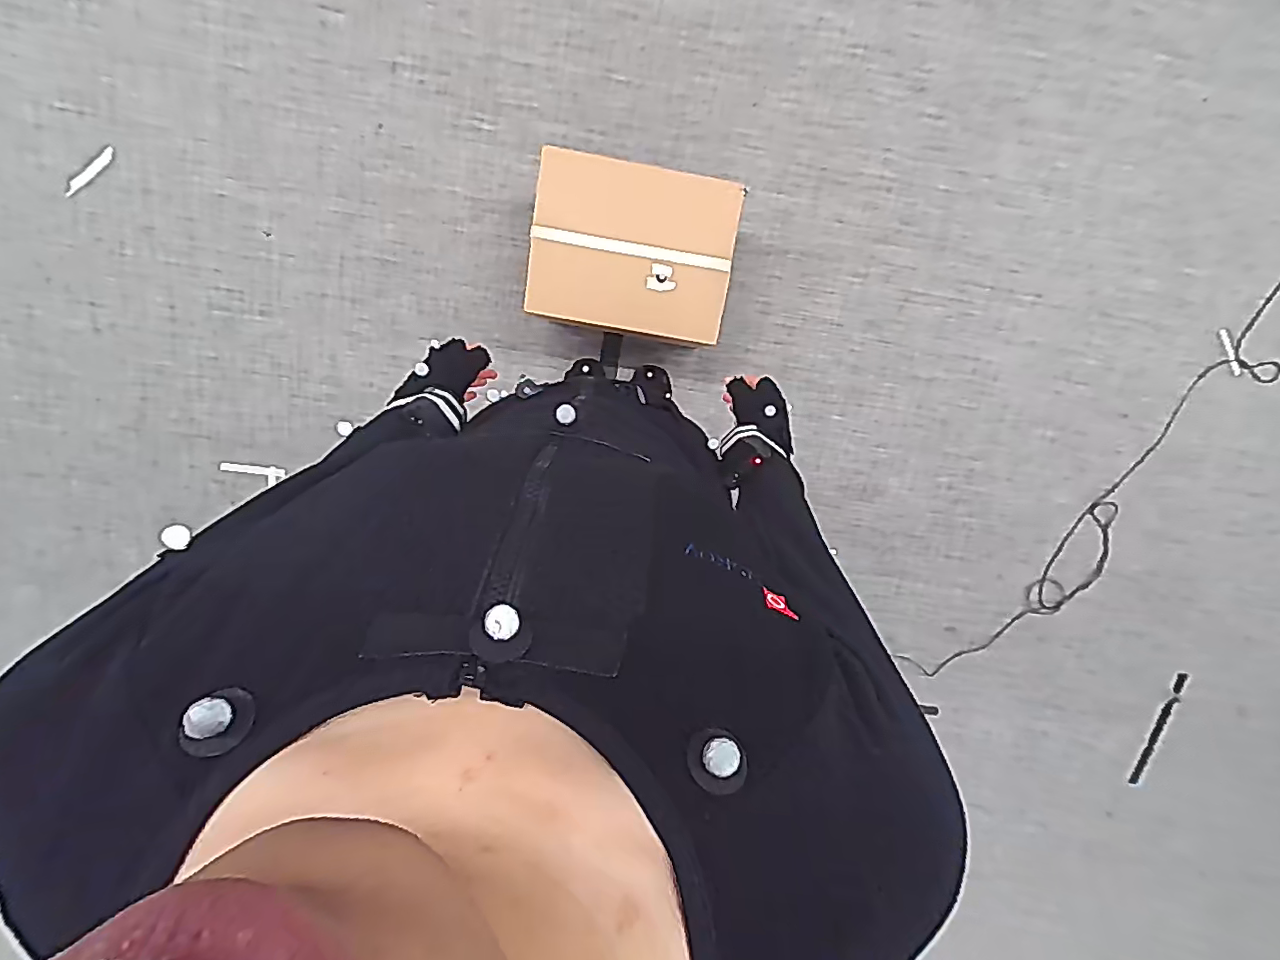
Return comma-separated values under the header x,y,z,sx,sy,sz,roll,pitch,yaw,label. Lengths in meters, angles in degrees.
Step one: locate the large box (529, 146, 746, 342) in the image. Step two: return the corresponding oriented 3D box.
x,y,z,sx,sy,sz,roll,pitch,yaw,label
-0.016,-0.501,1.224,0.408,0.320,0.320,9,103,-4,large box
